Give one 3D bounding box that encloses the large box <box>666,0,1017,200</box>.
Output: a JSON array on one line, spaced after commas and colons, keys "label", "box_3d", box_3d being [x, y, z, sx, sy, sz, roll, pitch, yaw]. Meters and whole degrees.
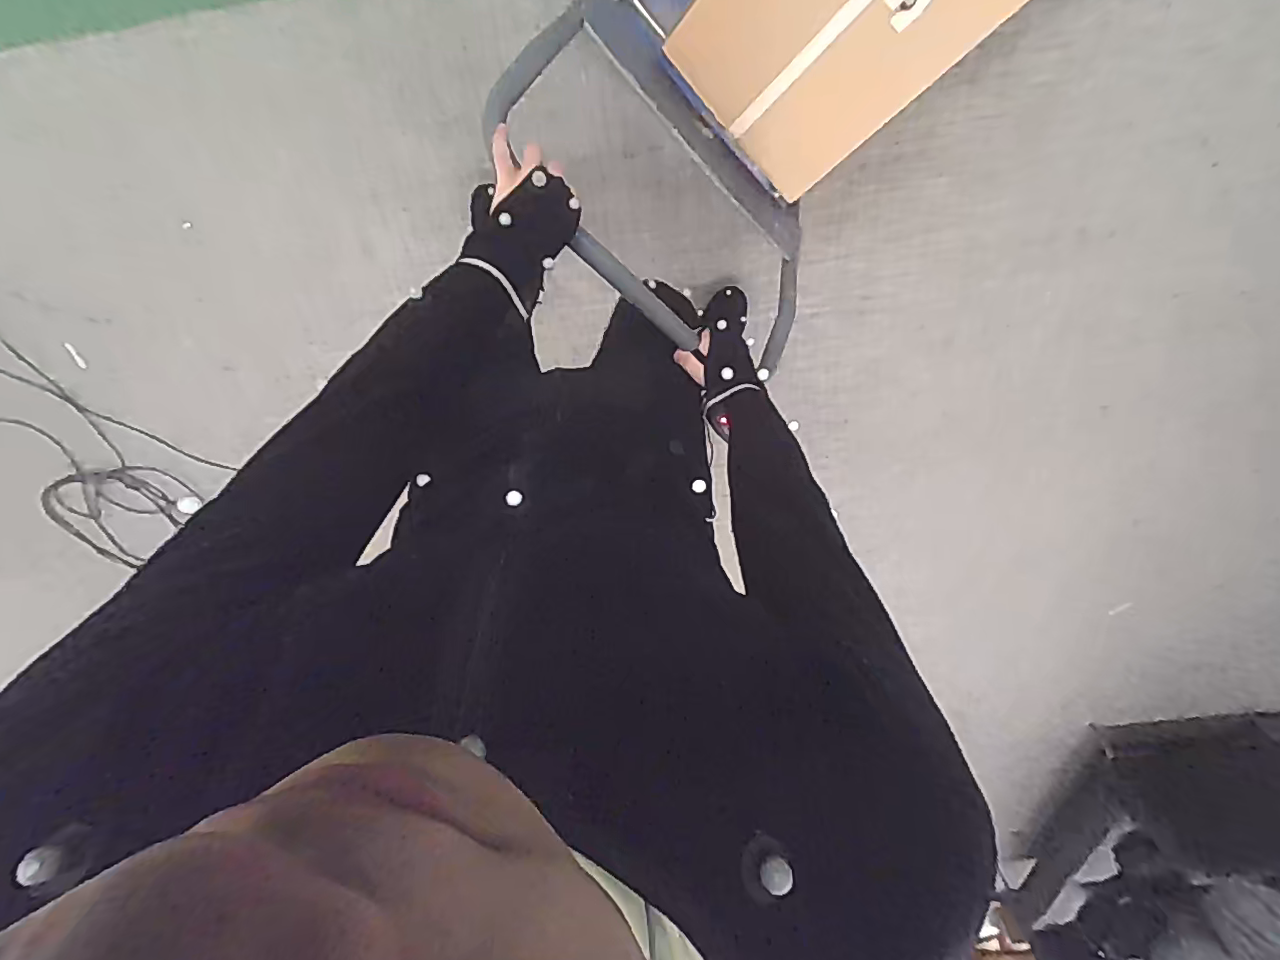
[{"label": "large box", "box_3d": [0.298, -0.751, 0.843, 0.320, 0.320, 0.408, 36, 133, -26]}]
